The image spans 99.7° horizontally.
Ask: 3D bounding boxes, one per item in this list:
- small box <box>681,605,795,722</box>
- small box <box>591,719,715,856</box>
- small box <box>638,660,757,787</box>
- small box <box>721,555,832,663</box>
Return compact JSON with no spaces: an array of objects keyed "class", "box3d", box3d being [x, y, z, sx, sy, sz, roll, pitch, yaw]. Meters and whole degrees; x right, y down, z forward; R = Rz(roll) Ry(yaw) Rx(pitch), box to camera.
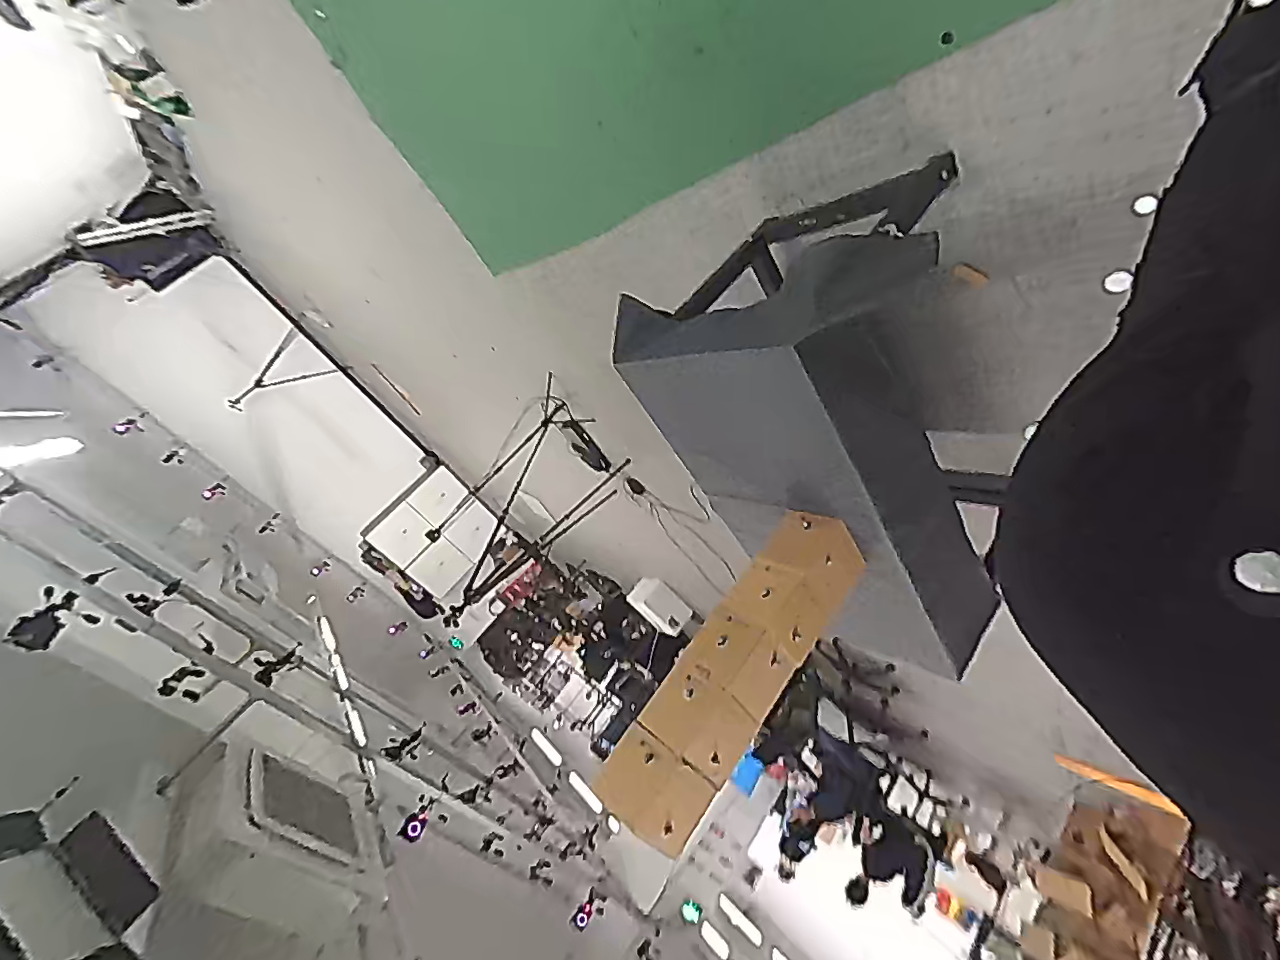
[{"class":"small box","box3d":[0.236,0.428,1.286,0.168,0.176,0.179,13,146,53]},{"class":"small box","box3d":[0.034,0.663,1.178,0.168,0.176,0.179,11,146,52]},{"class":"small box","box3d":[0.136,0.548,1.236,0.168,0.176,0.179,10,144,54]},{"class":"small box","box3d":[0.339,0.310,1.335,0.168,0.176,0.179,10,144,55]}]
